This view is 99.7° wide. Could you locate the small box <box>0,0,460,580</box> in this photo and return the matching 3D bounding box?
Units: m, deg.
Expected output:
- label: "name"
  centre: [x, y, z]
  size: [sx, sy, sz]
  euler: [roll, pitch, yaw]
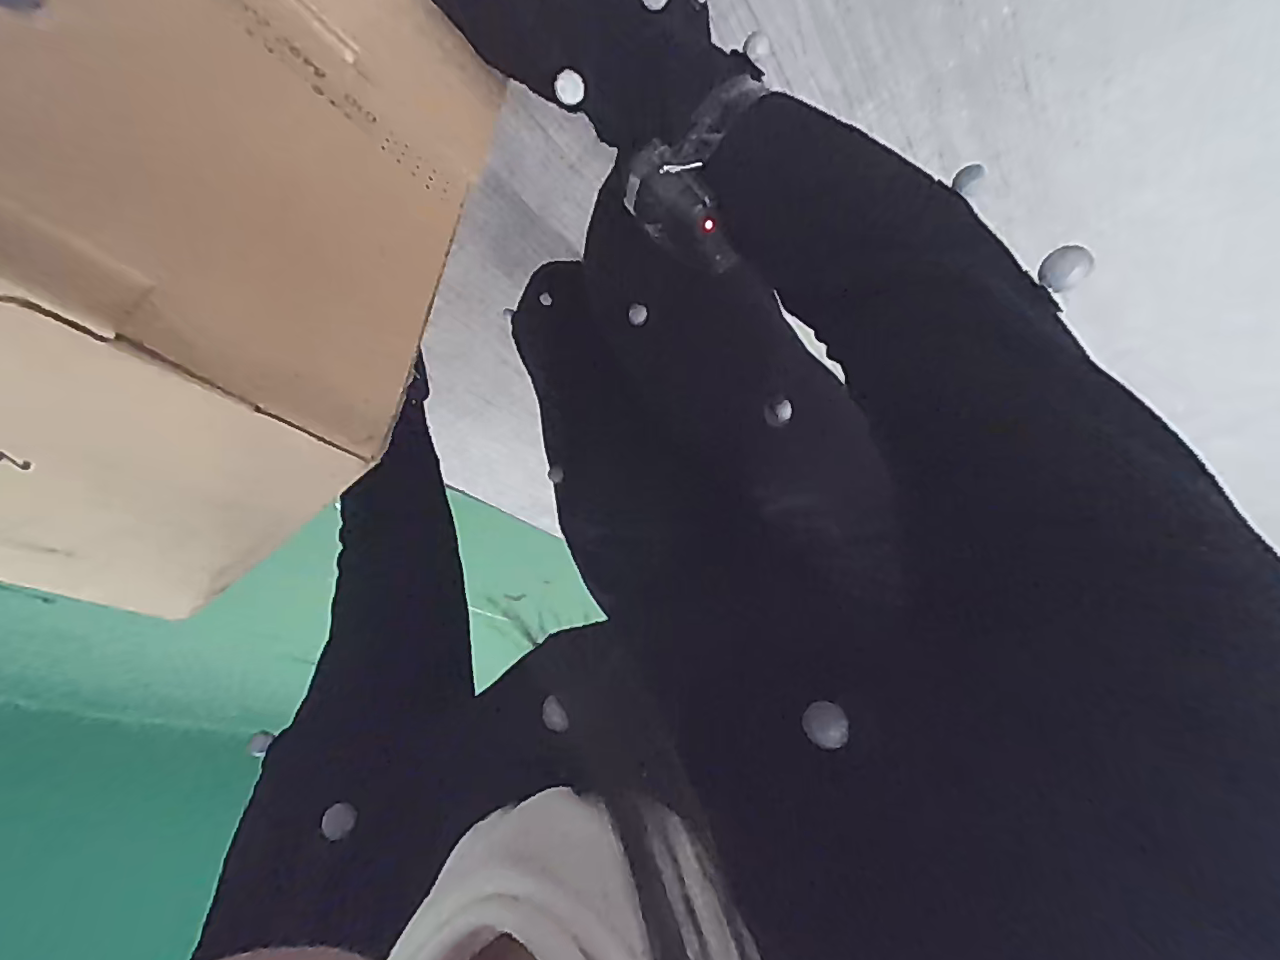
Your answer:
- label: "small box"
  centre: [-0.189, -0.087, 0.206]
  size: [0.179, 0.176, 0.168]
  euler: [-28, 136, 33]
